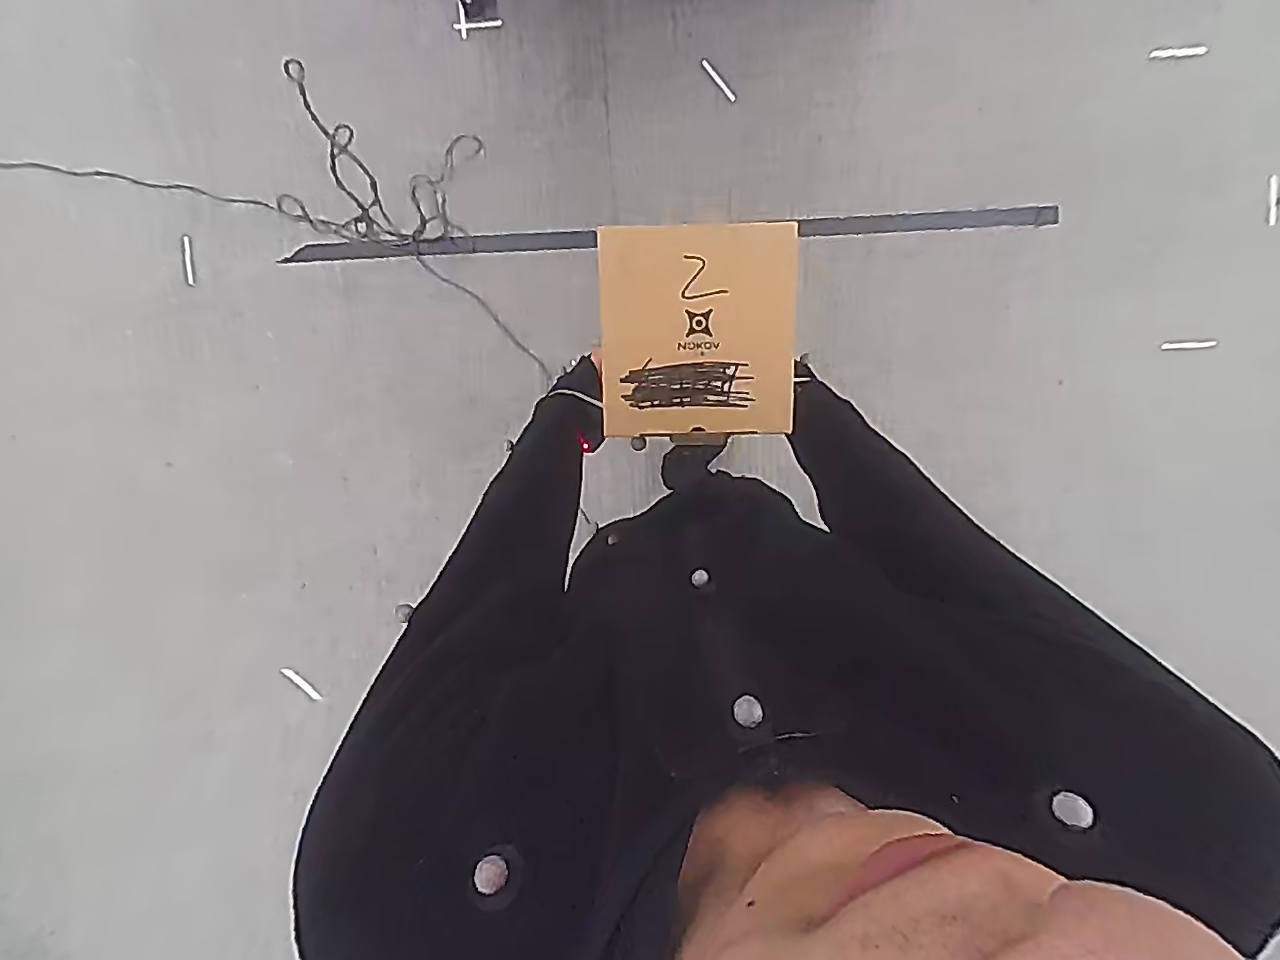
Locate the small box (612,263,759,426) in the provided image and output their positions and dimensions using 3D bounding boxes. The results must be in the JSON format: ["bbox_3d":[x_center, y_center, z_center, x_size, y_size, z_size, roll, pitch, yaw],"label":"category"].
[{"bbox_3d":[0.052,-0.165,0.692,0.168,0.176,0.179,-3,101,1],"label":"small box"}]
